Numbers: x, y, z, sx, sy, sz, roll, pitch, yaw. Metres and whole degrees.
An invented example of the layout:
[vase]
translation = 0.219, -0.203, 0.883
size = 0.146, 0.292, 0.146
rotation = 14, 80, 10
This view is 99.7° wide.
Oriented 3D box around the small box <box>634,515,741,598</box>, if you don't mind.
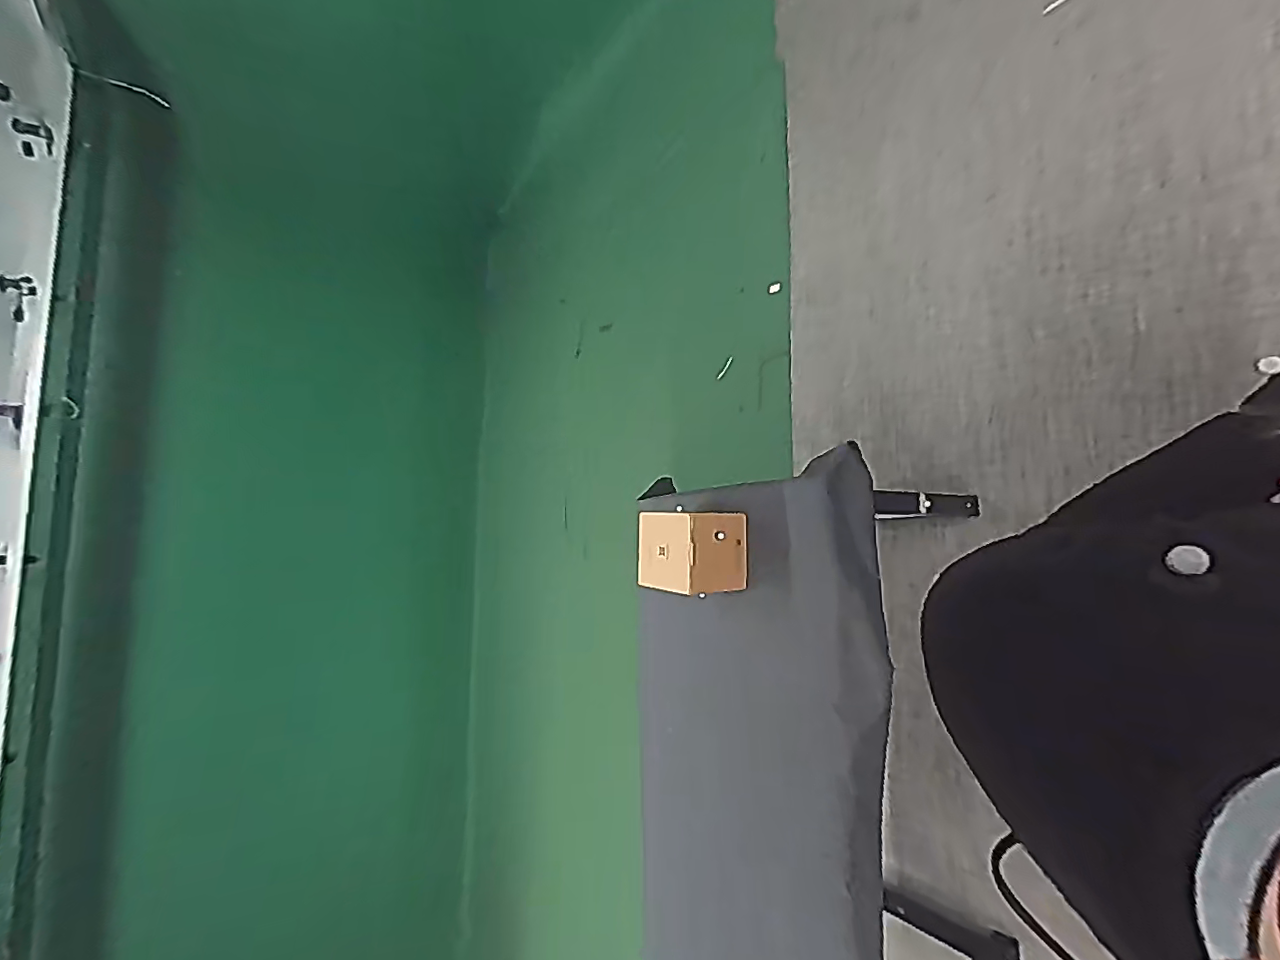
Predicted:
[small box]
translation = 0.107, 0.162, 1.192
size = 0.179, 0.176, 0.168
rotation = -5, 81, 54
